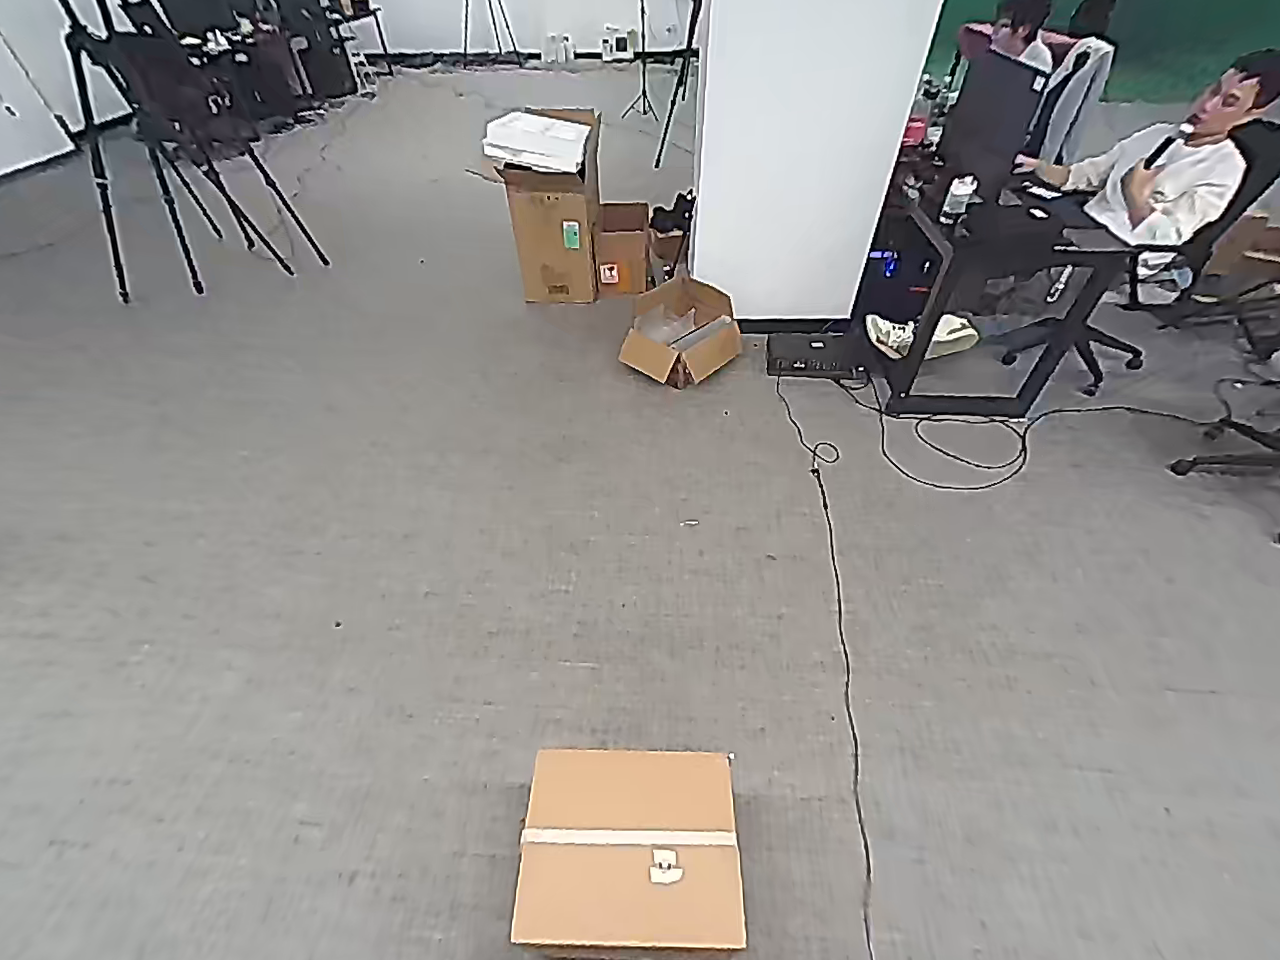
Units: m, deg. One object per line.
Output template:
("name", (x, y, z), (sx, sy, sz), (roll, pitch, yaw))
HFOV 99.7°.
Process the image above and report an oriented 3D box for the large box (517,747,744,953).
("large box", (-0.018, 0.784, 1.143), (0.408, 0.320, 0.320), (1, 46, 1))
